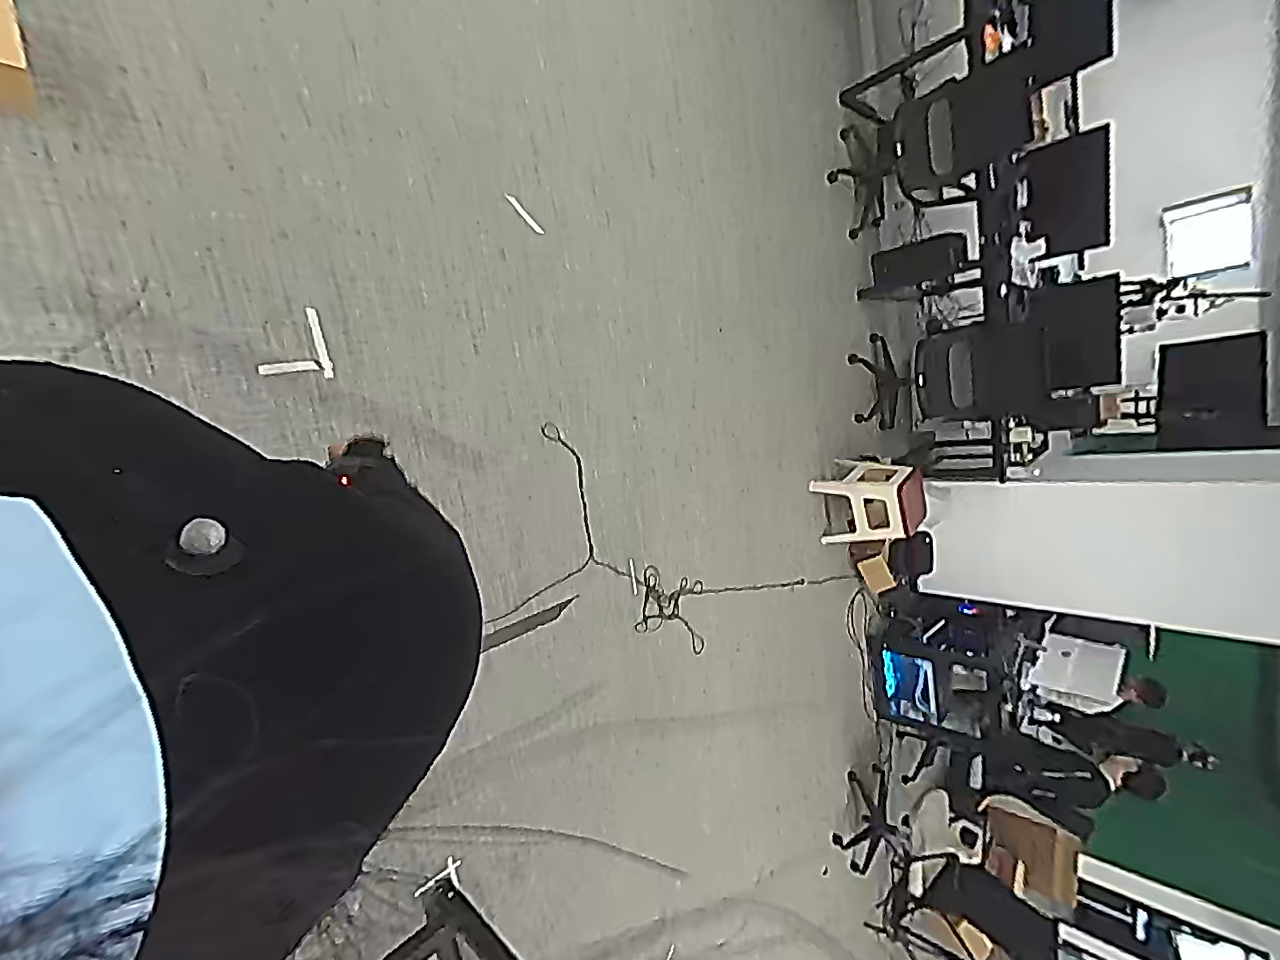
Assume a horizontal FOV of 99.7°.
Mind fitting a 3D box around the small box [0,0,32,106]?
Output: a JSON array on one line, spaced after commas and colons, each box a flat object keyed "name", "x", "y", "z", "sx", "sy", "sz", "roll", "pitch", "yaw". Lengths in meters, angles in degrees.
[{"name": "small box", "x": -1.152, "y": -0.769, "z": 0.896, "sx": 0.168, "sy": 0.176, "sz": 0.179, "roll": -11, "pitch": 98, "yaw": -44}]
